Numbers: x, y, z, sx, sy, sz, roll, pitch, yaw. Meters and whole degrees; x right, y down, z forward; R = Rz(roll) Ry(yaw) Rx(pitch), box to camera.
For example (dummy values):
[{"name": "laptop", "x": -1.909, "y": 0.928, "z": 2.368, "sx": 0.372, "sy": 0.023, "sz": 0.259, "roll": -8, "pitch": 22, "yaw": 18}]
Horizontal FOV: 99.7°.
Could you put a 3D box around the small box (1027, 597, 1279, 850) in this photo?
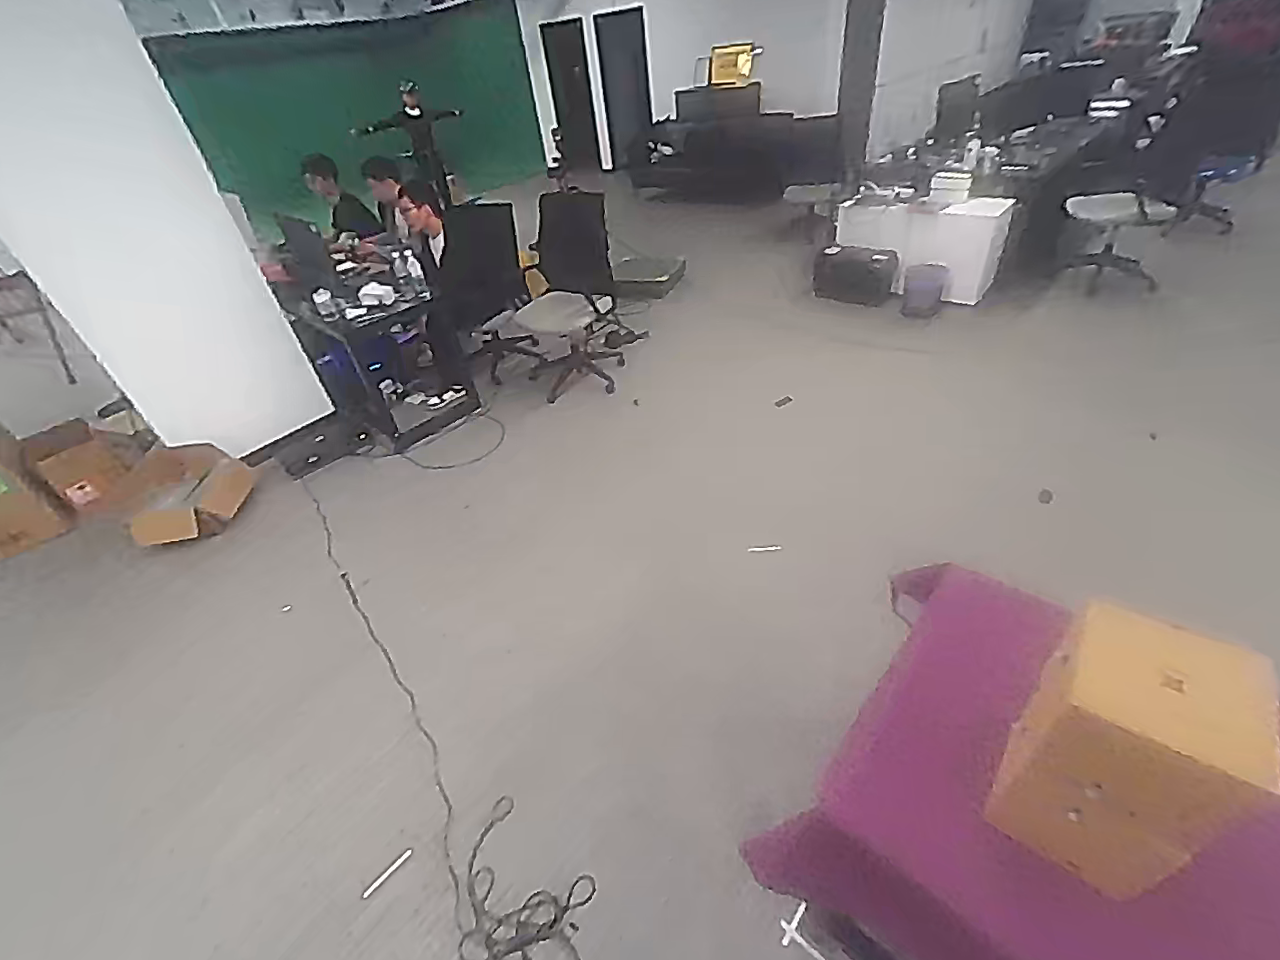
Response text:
[{"name": "small box", "x": 0.589, "y": 0.281, "z": 0.637, "sx": 0.168, "sy": 0.176, "sz": 0.179, "roll": 22, "pitch": 48, "yaw": 33}]

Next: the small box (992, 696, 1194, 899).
[{"name": "small box", "x": 0.609, "y": 0.410, "z": 0.735, "sx": 0.168, "sy": 0.176, "sz": 0.179, "roll": 24, "pitch": 48, "yaw": 34}]
